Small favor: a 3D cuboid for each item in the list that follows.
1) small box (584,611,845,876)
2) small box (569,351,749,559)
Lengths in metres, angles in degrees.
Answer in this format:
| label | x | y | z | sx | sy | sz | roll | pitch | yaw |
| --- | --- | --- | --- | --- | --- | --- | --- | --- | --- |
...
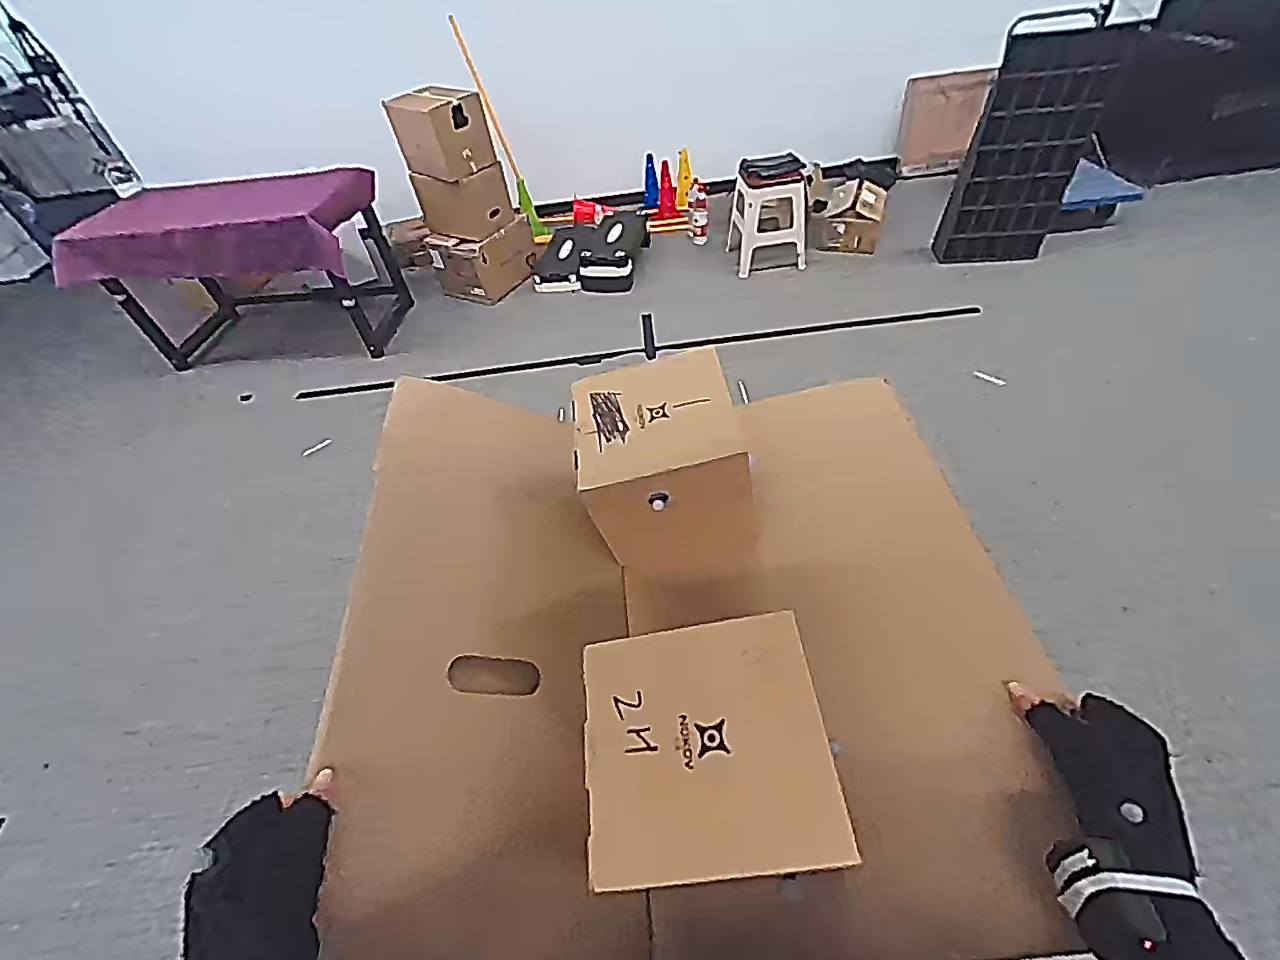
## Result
| label | x | y | z | sx | sy | sz | roll | pitch | yaw |
| --- | --- | --- | --- | --- | --- | --- | --- | --- | --- |
| small box | 0.060 | 0.231 | 0.466 | 0.179 | 0.176 | 0.168 | -12 | 53 | 9 |
| small box | 0.025 | -0.022 | 0.659 | 0.179 | 0.176 | 0.168 | -14 | 53 | 6 |
